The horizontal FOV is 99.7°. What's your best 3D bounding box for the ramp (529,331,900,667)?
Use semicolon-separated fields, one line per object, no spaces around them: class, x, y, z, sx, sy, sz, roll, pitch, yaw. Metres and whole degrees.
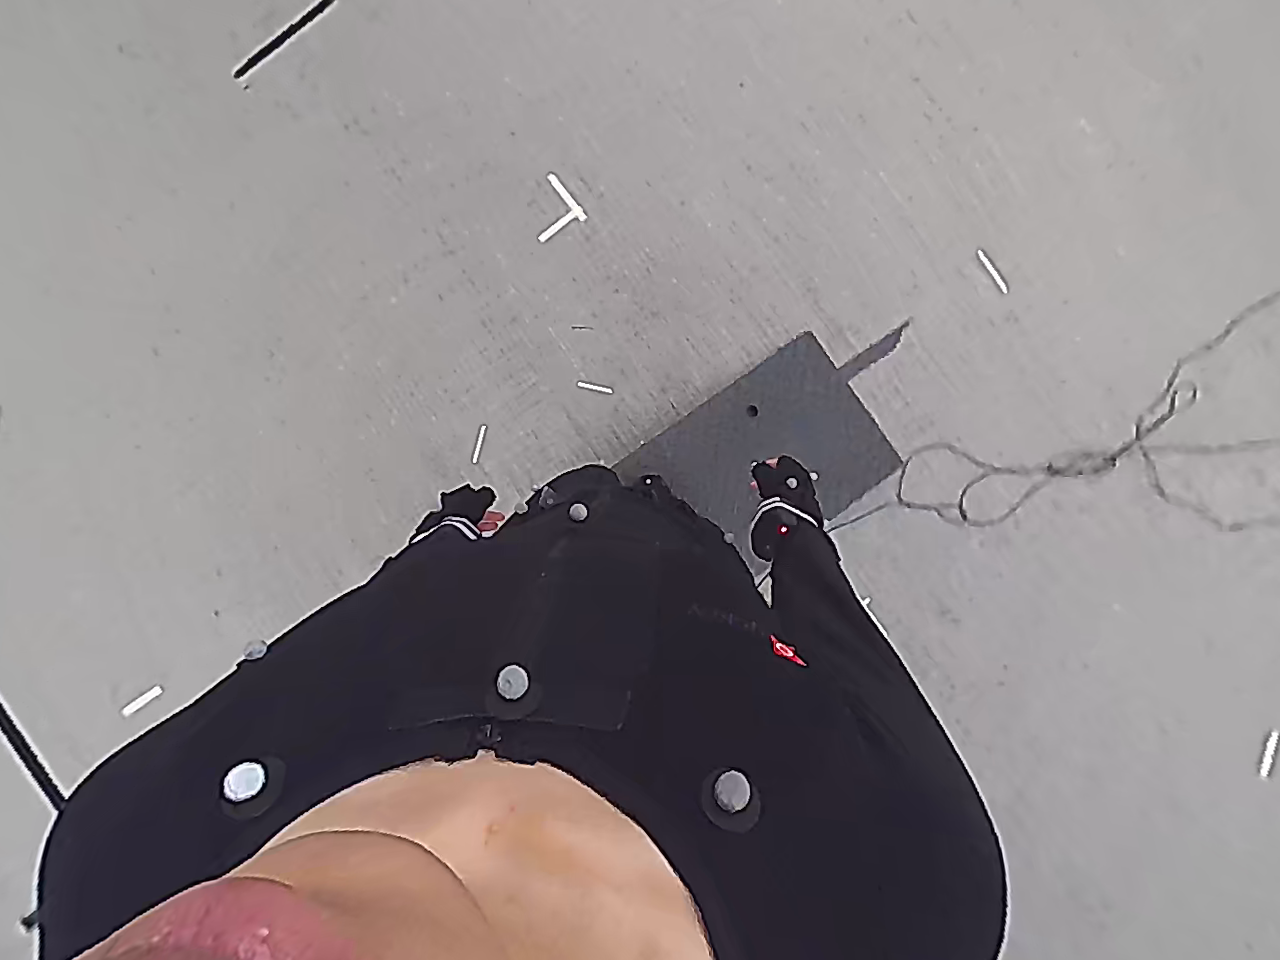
ramp;0.229;0.029;1.538;0.991;0.206;0.509;-37;88;2
